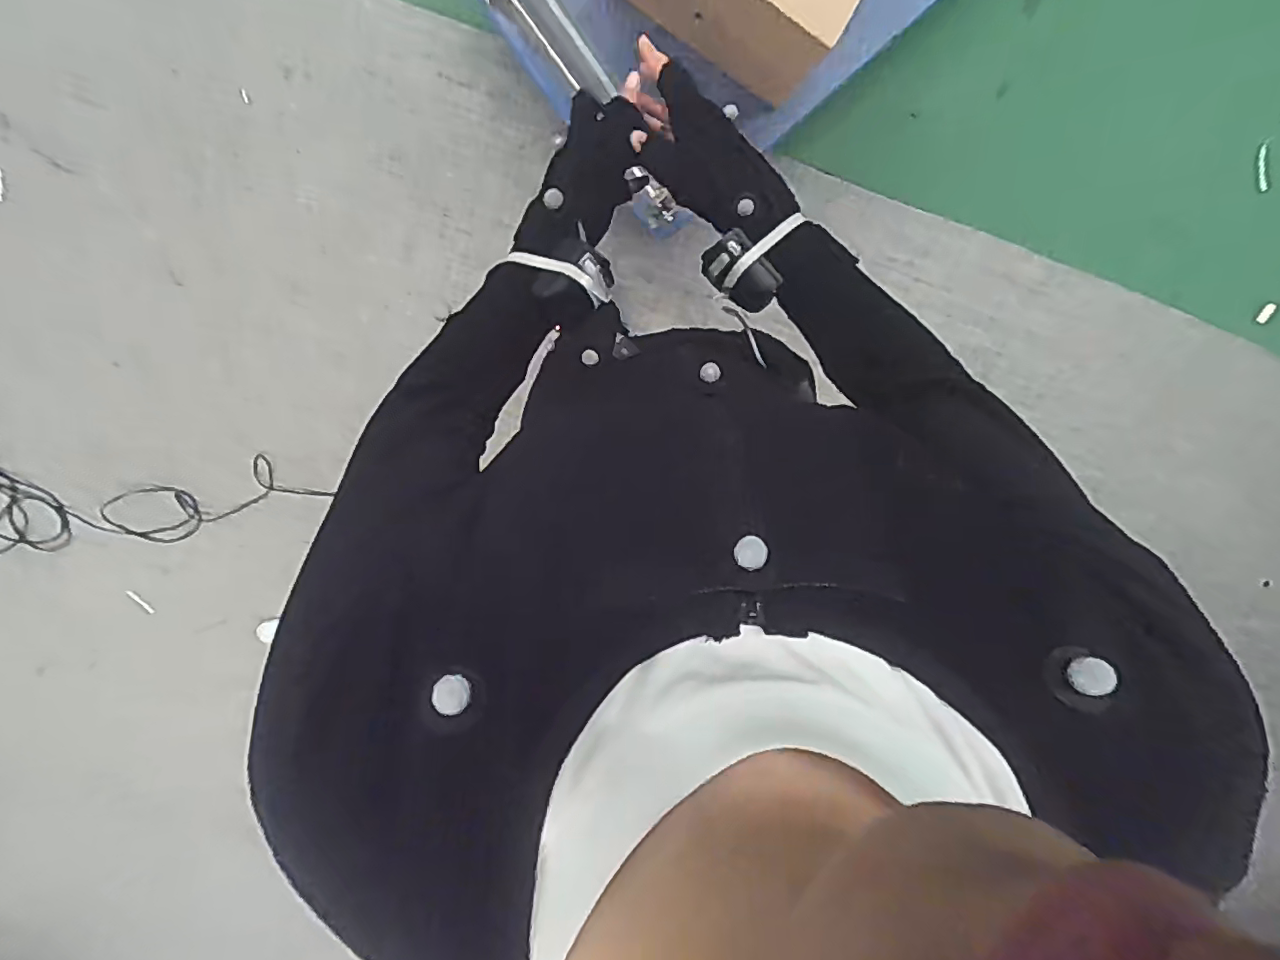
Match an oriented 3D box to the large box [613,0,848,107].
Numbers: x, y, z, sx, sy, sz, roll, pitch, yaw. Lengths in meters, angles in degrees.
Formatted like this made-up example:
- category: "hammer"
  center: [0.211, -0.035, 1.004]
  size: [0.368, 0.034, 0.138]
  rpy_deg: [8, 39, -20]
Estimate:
- category: "large box"
  center: [0.161, -0.889, 0.850]
  size: [0.408, 0.320, 0.320]
  rpy_deg: [28, 107, -11]
